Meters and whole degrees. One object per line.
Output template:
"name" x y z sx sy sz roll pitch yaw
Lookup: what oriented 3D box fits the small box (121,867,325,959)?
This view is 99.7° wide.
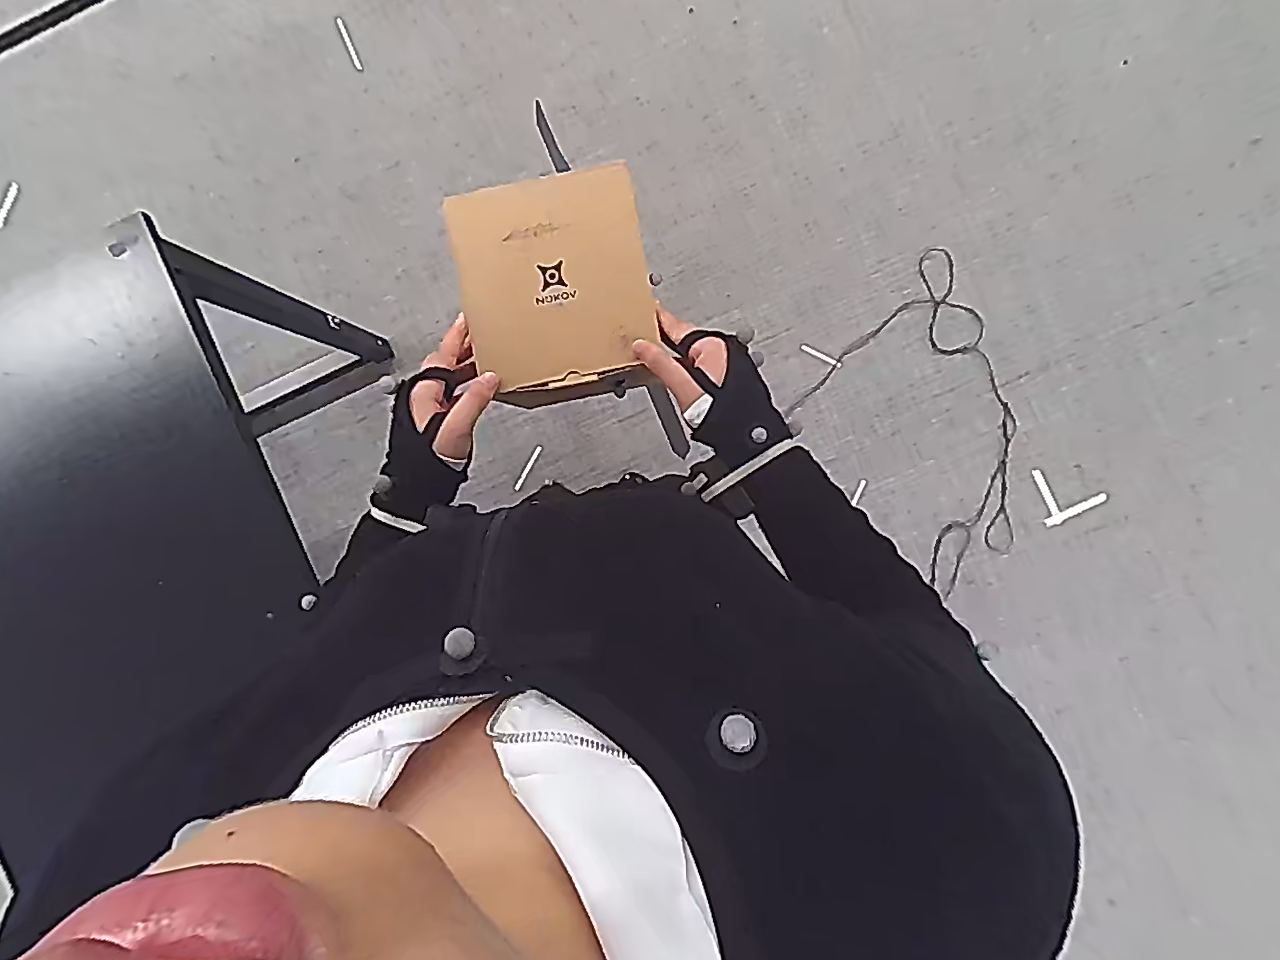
"small box" -0.565 0.658 0.712 0.168 0.176 0.179 -25 90 2

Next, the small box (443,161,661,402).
"small box" -0.073 -0.179 0.548 0.168 0.176 0.179 -11 93 1
